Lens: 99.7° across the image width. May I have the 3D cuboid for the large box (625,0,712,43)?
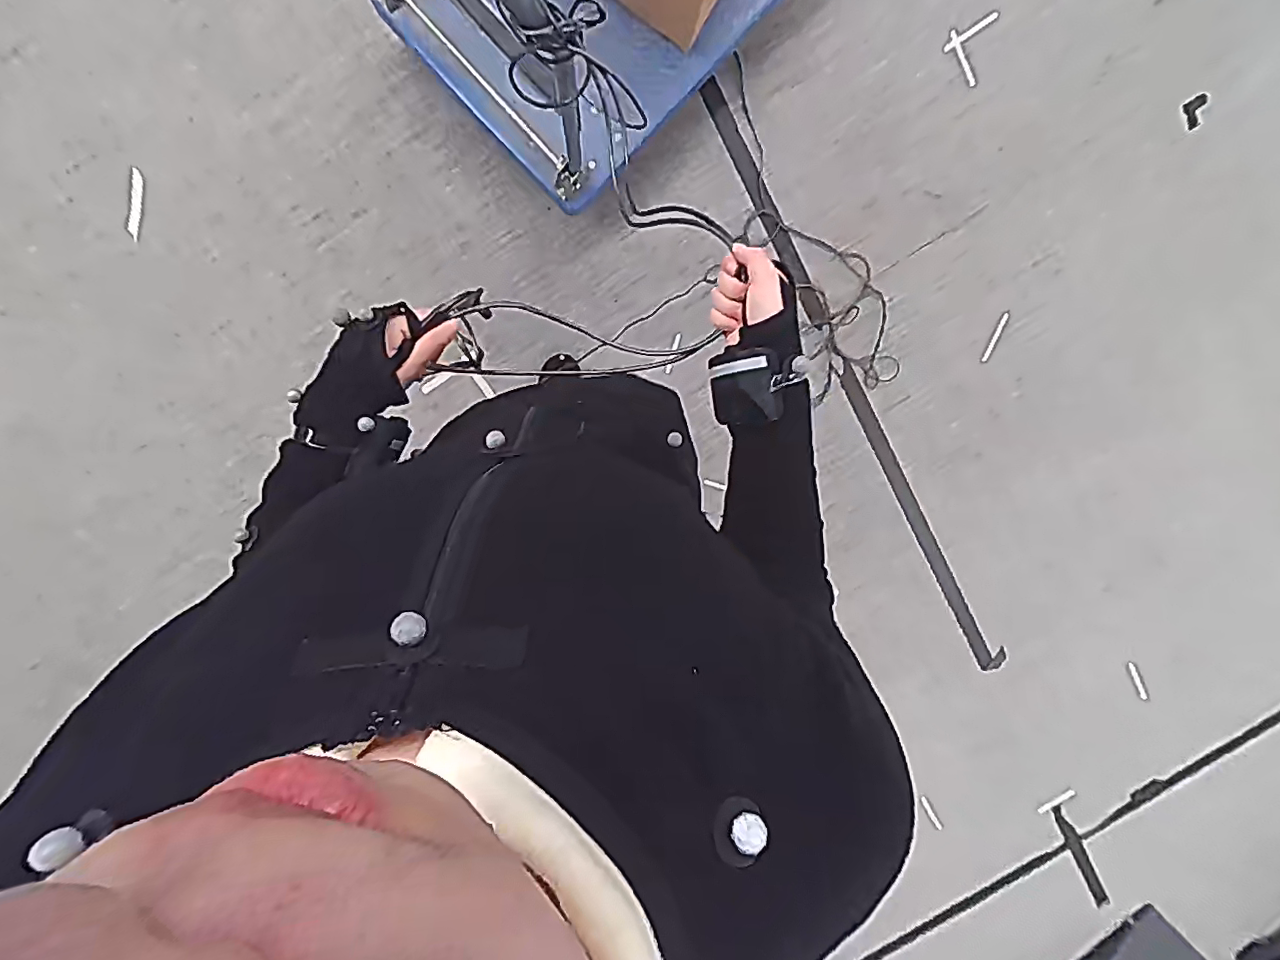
[{"bbox_3d":[0.019,-1.093,0.925,0.408,0.320,0.320,29,100,-11],"label":"large box"}]
